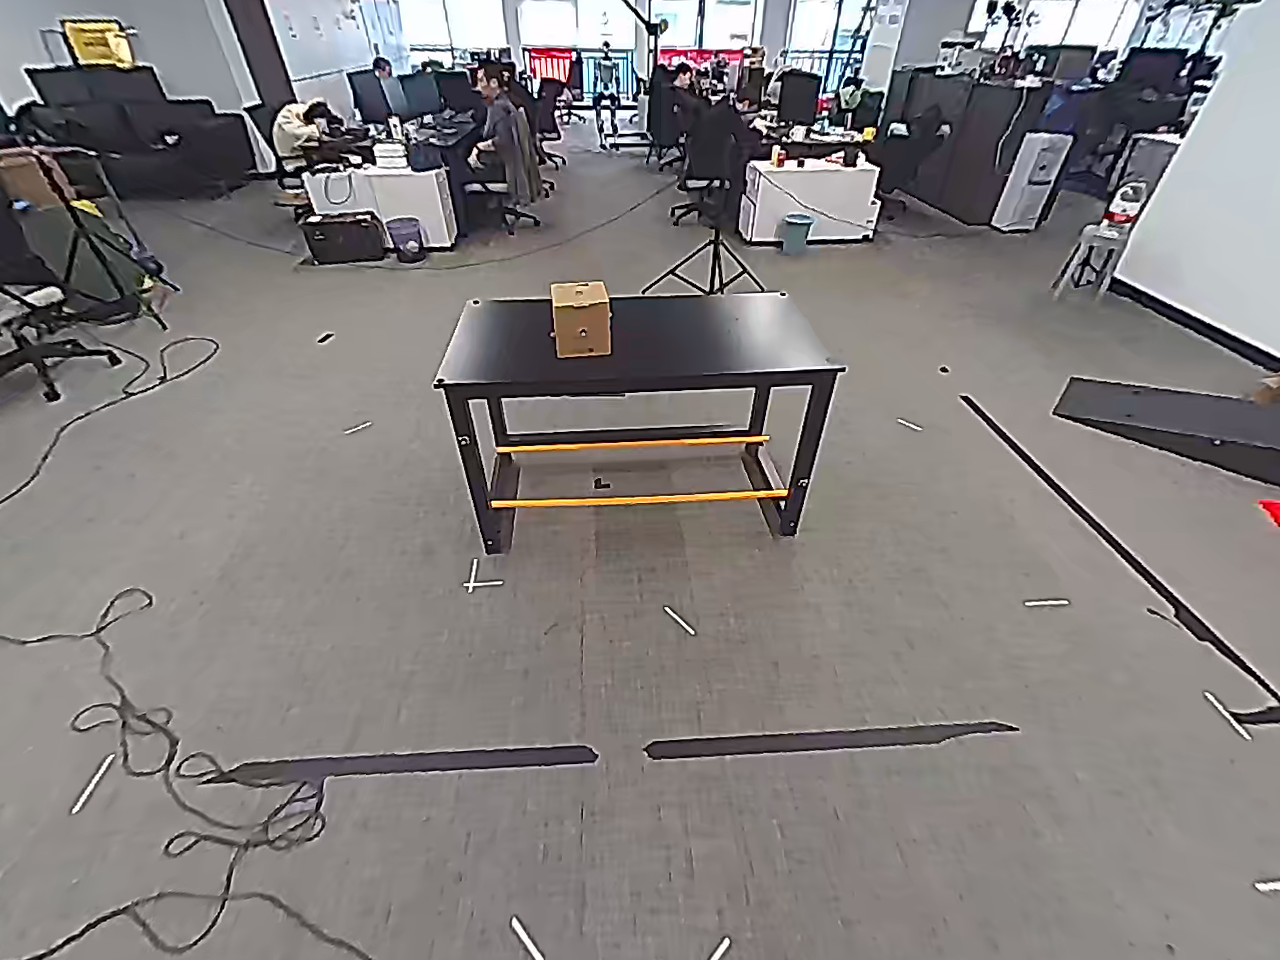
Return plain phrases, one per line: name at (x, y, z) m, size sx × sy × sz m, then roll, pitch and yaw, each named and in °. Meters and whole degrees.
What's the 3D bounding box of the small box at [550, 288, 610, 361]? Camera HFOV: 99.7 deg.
small box at (-0.188, -0.484, 1.692) m, size 0.168 × 0.176 × 0.179 m, roll -7°, pitch 40°, yaw -7°
